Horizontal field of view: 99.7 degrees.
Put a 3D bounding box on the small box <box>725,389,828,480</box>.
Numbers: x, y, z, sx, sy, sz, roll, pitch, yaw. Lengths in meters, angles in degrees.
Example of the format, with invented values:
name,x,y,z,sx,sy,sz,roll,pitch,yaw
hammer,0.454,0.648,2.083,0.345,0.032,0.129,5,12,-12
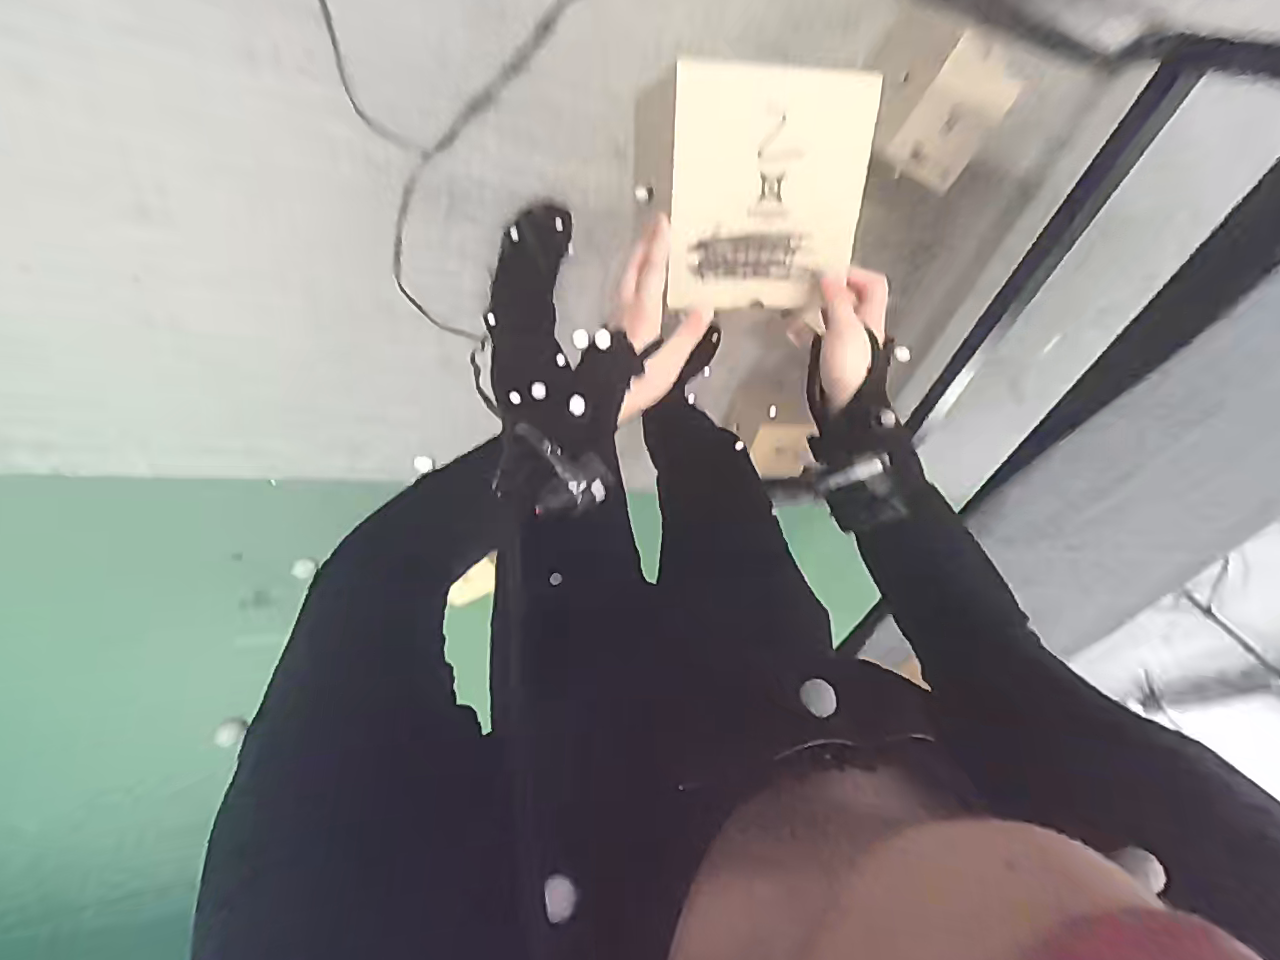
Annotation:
name,x,y,z,sx,sy,sz,roll,pitch,yaw
small box,0.335,-0.118,1.373,0.179,0.176,0.168,-2,133,-17

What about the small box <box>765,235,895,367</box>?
name,x,y,z,sx,sy,sz,roll,pitch,yaw
small box,0.389,-0.378,1.146,0.168,0.176,0.179,19,122,-33

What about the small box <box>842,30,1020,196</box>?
name,x,y,z,sx,sy,sz,roll,pitch,yaw
small box,0.490,-0.636,0.937,0.168,0.176,0.179,12,127,-28
